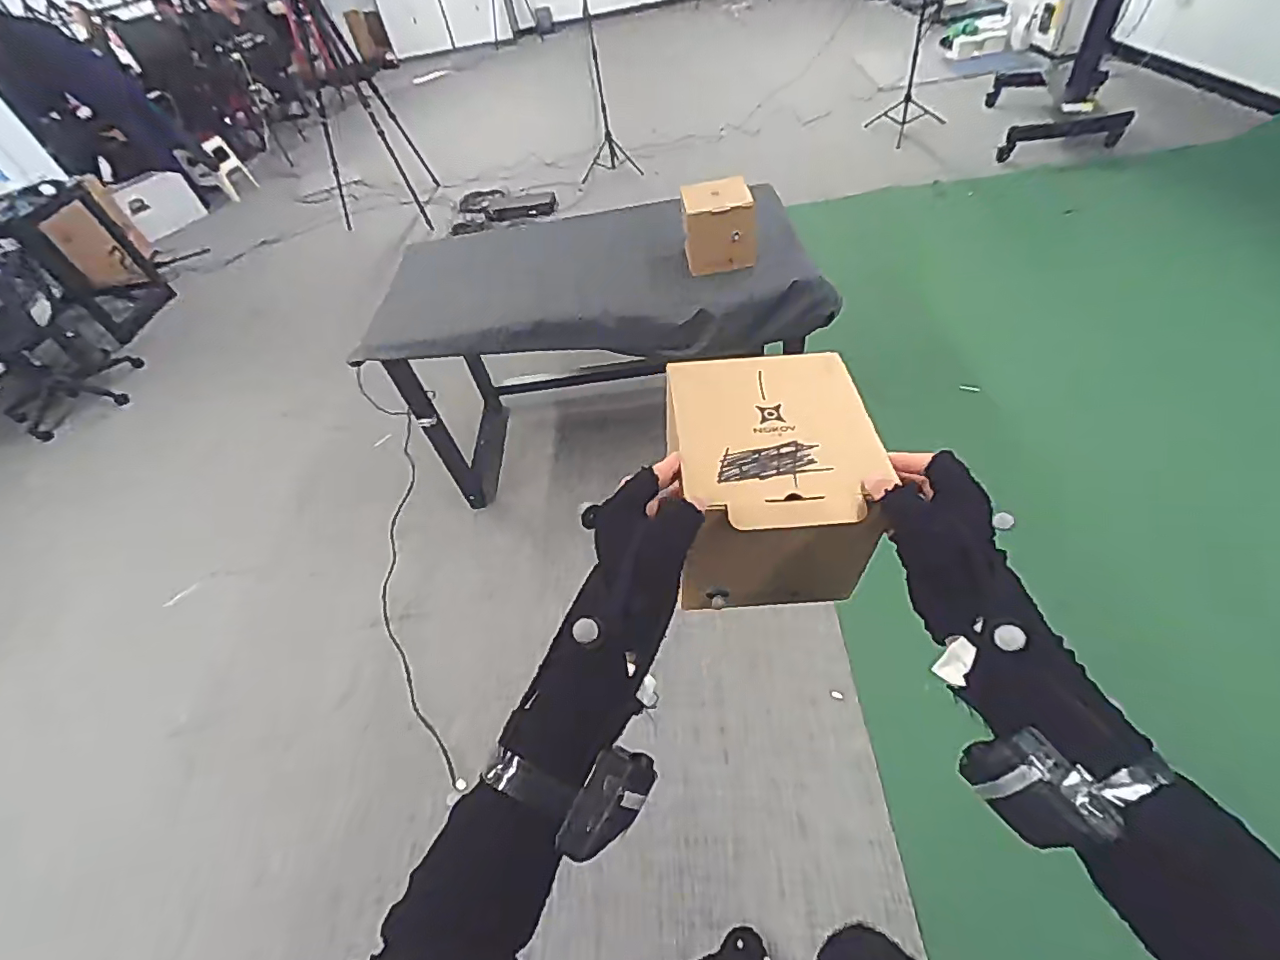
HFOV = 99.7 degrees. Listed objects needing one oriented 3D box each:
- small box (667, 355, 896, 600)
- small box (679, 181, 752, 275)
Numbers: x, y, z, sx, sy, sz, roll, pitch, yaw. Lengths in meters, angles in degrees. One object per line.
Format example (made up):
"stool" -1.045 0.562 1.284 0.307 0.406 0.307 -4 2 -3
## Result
"small box" 0.116 0.005 0.522 0.168 0.176 0.179 -4 49 1
"small box" 0.200 -0.654 1.422 0.168 0.176 0.179 -8 46 3
